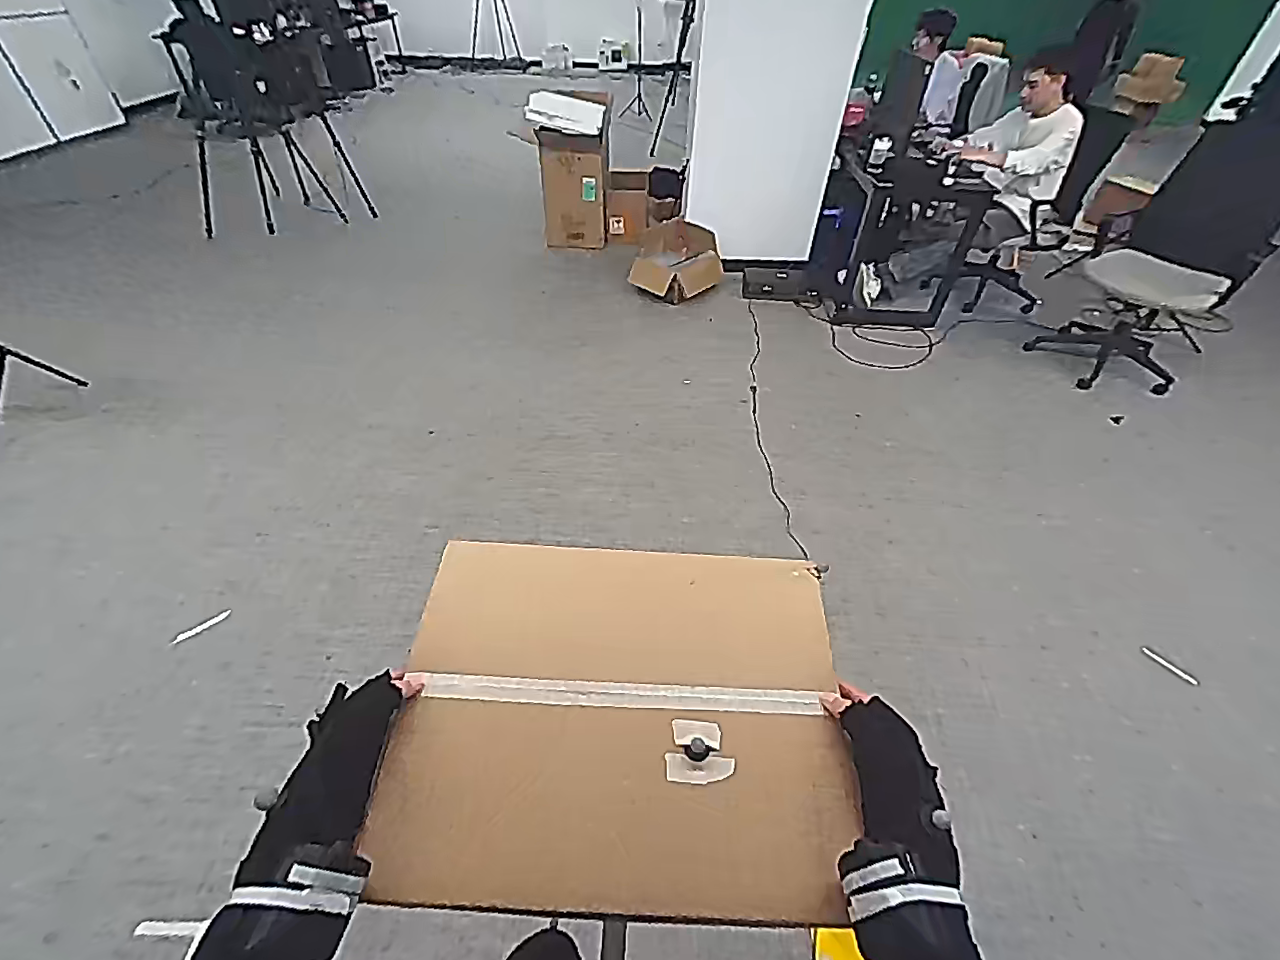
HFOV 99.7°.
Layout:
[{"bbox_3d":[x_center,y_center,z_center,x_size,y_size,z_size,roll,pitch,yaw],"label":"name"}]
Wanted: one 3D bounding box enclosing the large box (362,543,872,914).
[{"bbox_3d":[-0.020,0.292,0.621,0.408,0.320,0.320,4,51,-1],"label":"large box"}]
